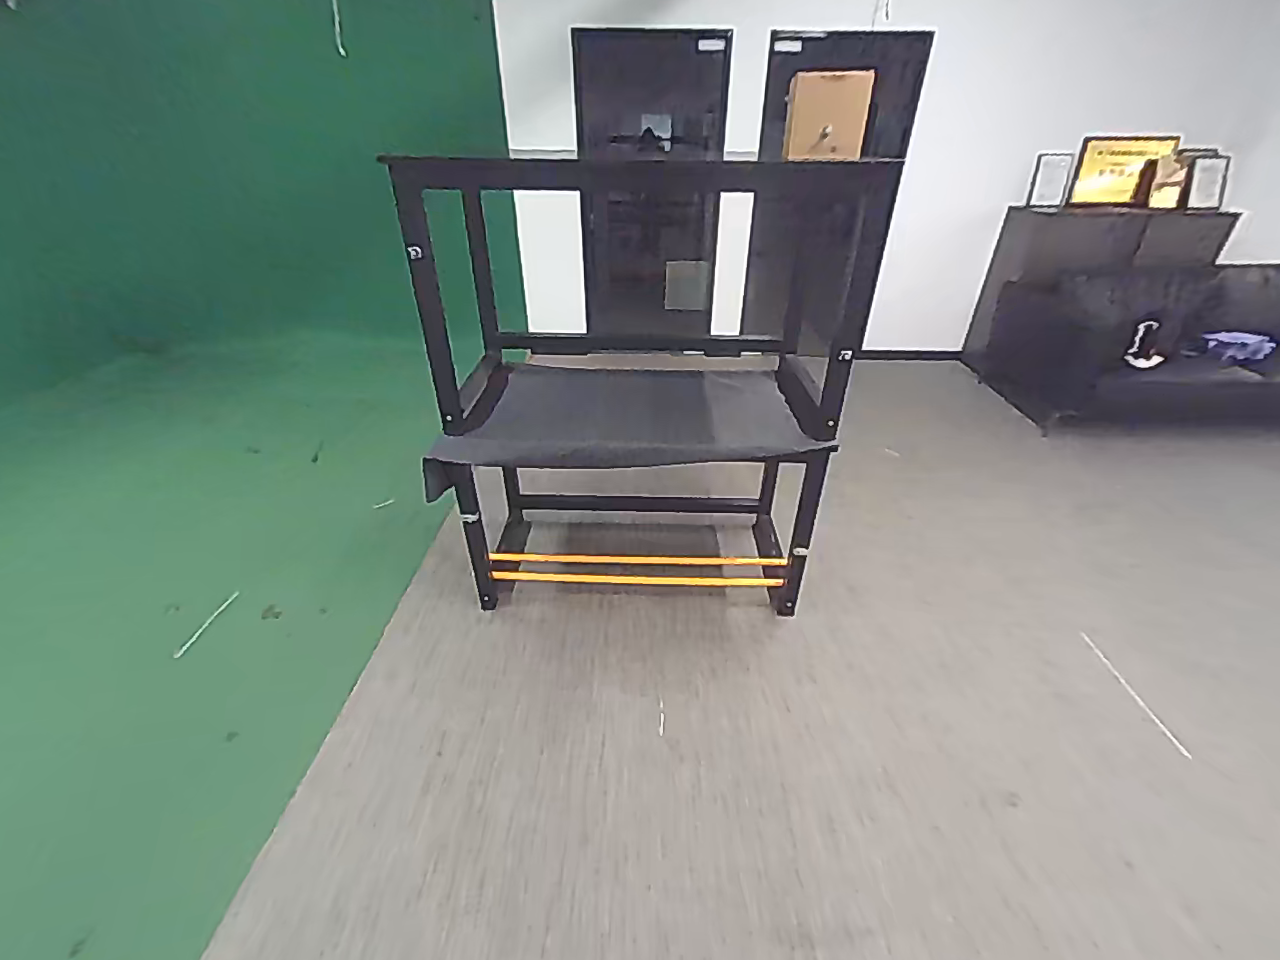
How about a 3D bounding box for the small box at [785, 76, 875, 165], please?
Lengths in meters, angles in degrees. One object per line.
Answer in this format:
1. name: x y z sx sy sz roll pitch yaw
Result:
1. small box: 0.449 -0.866 1.309 0.168 0.176 0.179 4 33 8
